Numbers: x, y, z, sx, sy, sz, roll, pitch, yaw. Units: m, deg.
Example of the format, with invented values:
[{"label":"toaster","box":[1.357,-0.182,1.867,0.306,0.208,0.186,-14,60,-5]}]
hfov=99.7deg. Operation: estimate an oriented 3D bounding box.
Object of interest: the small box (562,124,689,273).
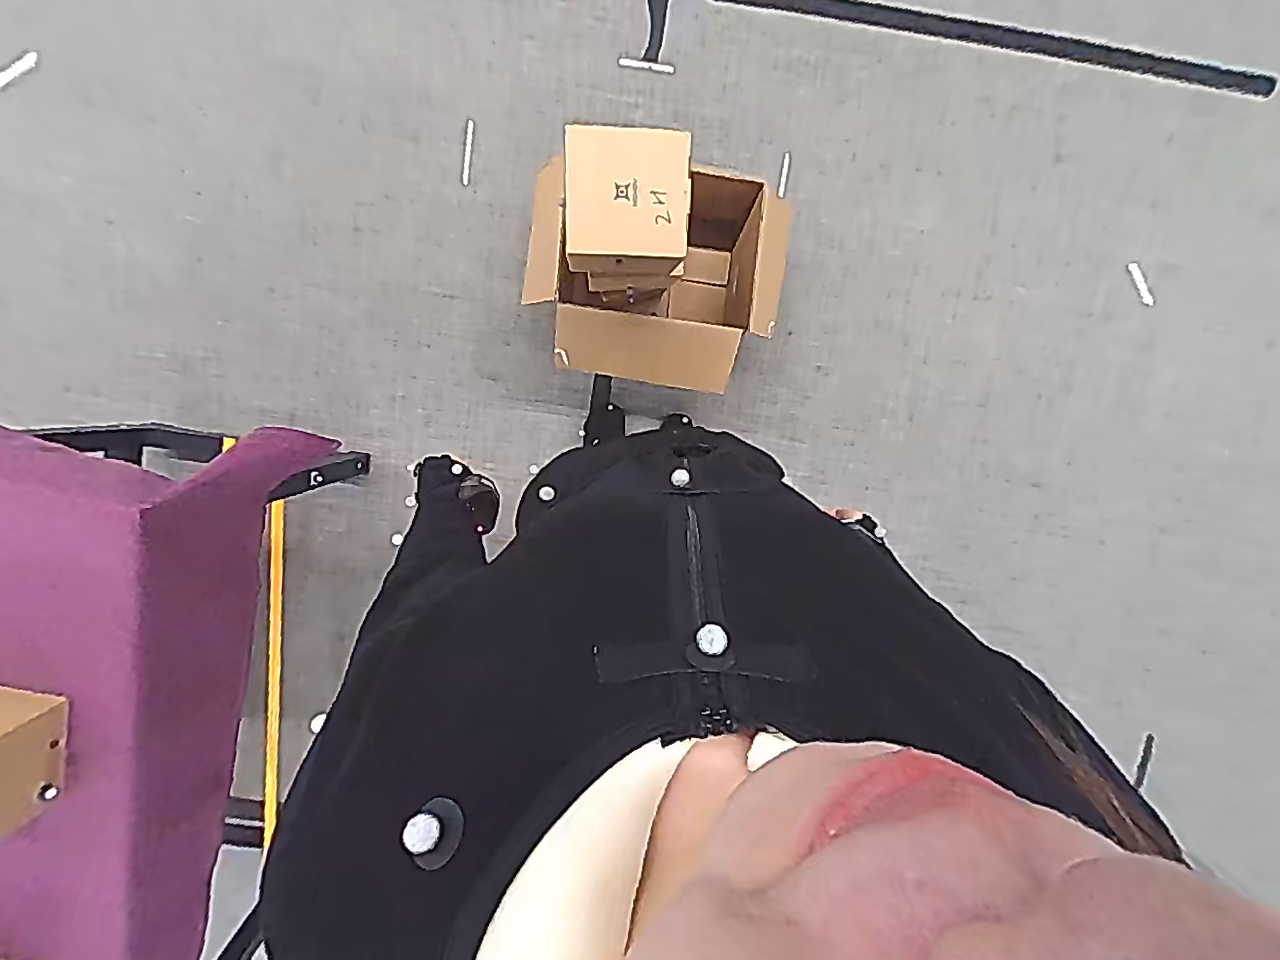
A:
[{"label":"small box","box":[-0.027,-0.418,0.831,0.179,0.176,0.168,0,103,-5]}]

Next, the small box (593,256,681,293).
[{"label":"small box","box":[-0.023,-0.506,1.150,0.179,0.176,0.168,-14,103,-3]}]

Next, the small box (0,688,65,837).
[{"label":"small box","box":[-0.922,0.387,0.708,0.179,0.176,0.168,12,98,-3]}]
